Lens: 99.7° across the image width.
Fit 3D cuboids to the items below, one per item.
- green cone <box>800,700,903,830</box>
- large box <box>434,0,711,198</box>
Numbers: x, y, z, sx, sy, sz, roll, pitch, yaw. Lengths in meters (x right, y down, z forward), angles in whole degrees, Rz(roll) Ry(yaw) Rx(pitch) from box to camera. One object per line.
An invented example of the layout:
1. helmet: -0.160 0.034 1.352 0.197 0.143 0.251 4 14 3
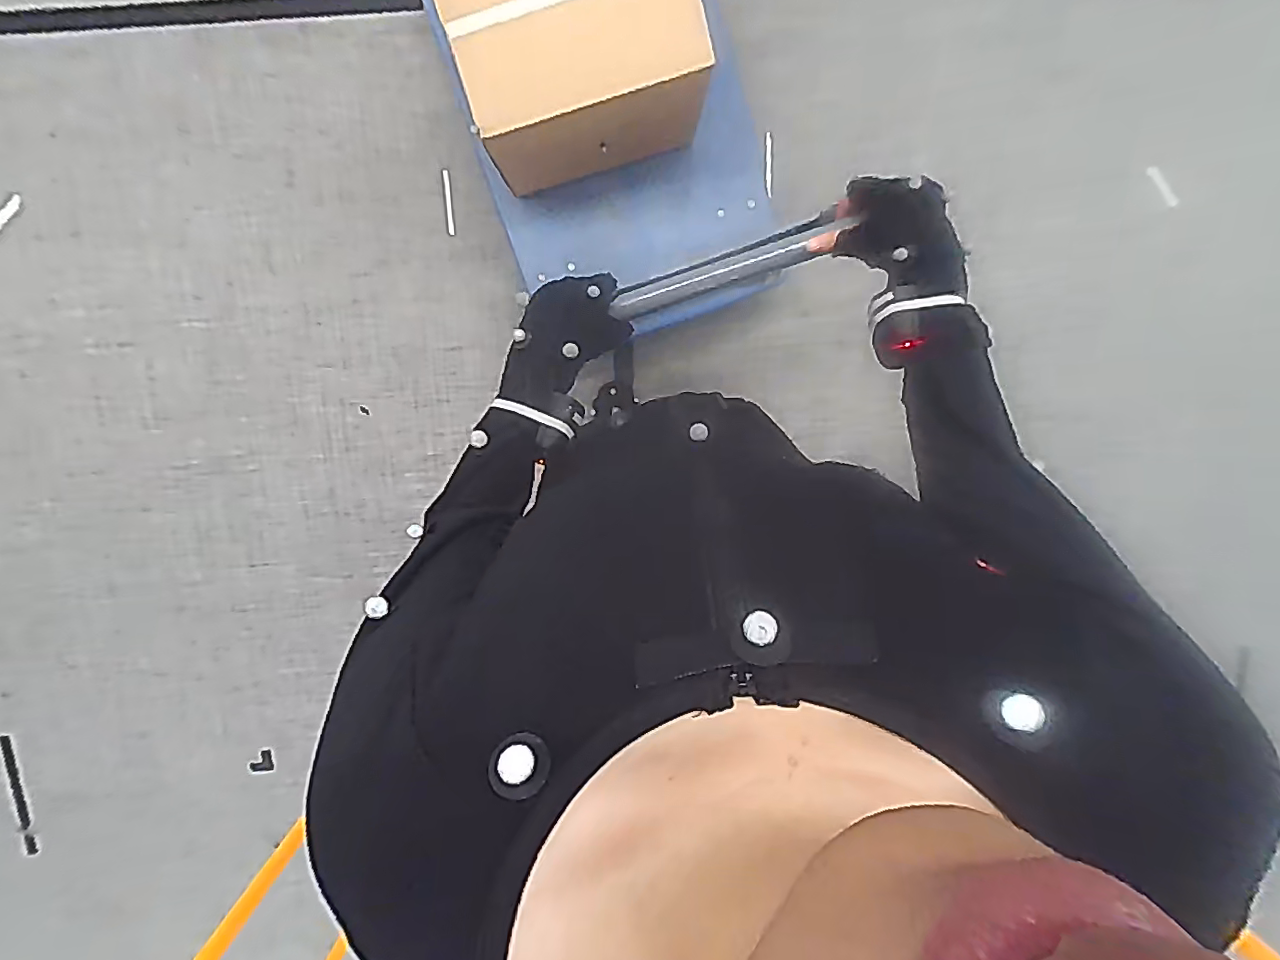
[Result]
1. green cone: 0.590 0.783 1.452 0.202 0.368 0.200 0 100 -3
2. large box: -0.117 -0.784 1.008 0.408 0.320 0.320 -17 101 3
